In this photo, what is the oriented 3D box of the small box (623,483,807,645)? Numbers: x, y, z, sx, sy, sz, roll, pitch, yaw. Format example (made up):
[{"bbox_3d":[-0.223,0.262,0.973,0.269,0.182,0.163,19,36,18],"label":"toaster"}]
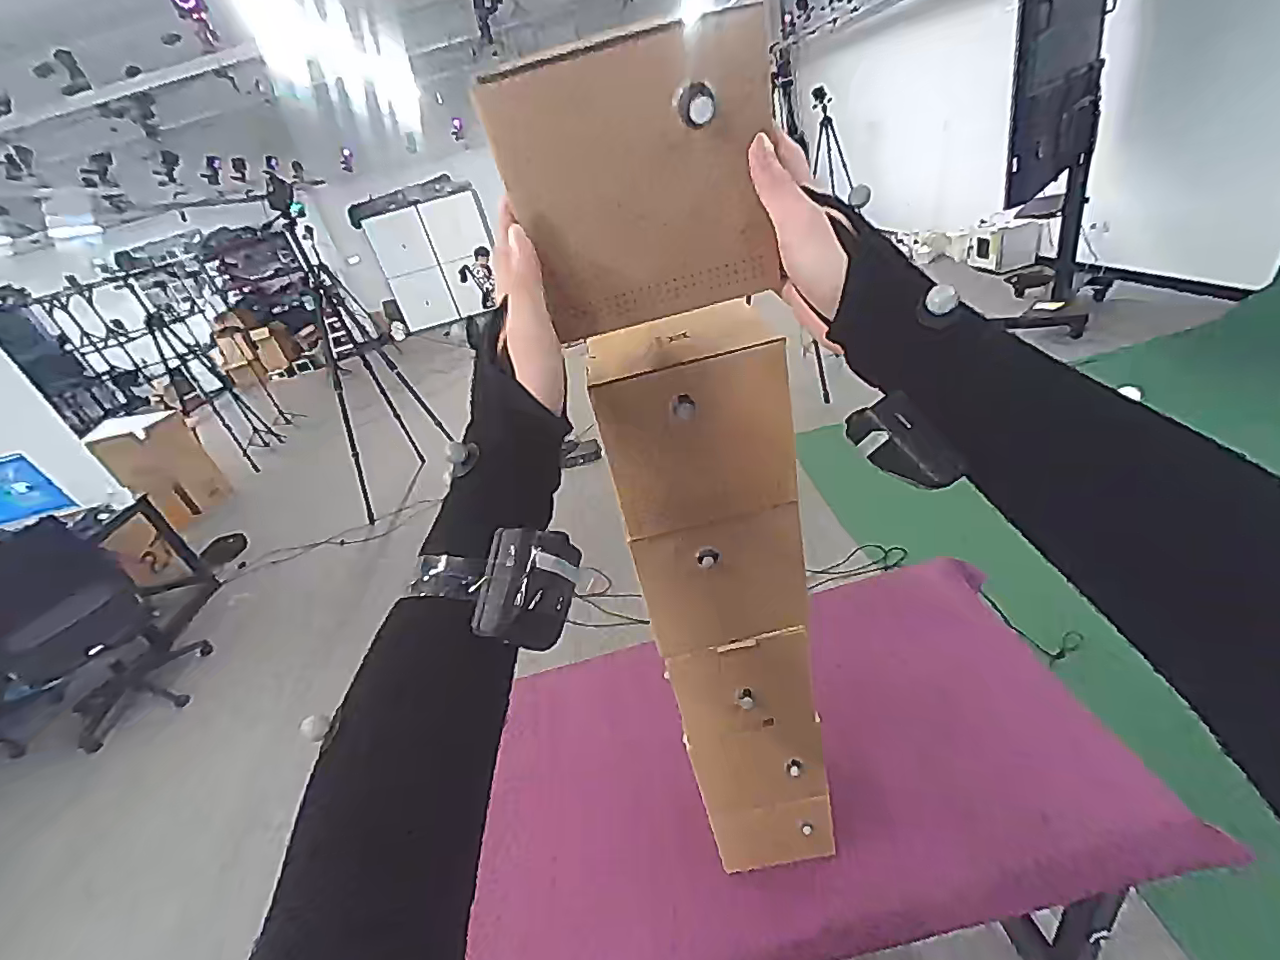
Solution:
[{"bbox_3d":[0.082,0.069,0.640,0.179,0.176,0.168,-14,29,2],"label":"small box"}]

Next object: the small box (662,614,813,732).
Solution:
[{"bbox_3d":[0.121,0.209,0.718,0.168,0.176,0.179,-13,30,4],"label":"small box"}]

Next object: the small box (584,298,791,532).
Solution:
[{"bbox_3d":[0.050,-0.070,0.563,0.179,0.176,0.168,-14,29,3],"label":"small box"}]

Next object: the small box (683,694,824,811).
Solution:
[{"bbox_3d":[0.160,0.349,0.792,0.179,0.176,0.168,-14,29,5],"label":"small box"}]

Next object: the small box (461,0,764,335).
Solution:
[{"bbox_3d":[-0.009,-0.236,0.413,0.179,0.176,0.168,-14,40,4],"label":"small box"}]
